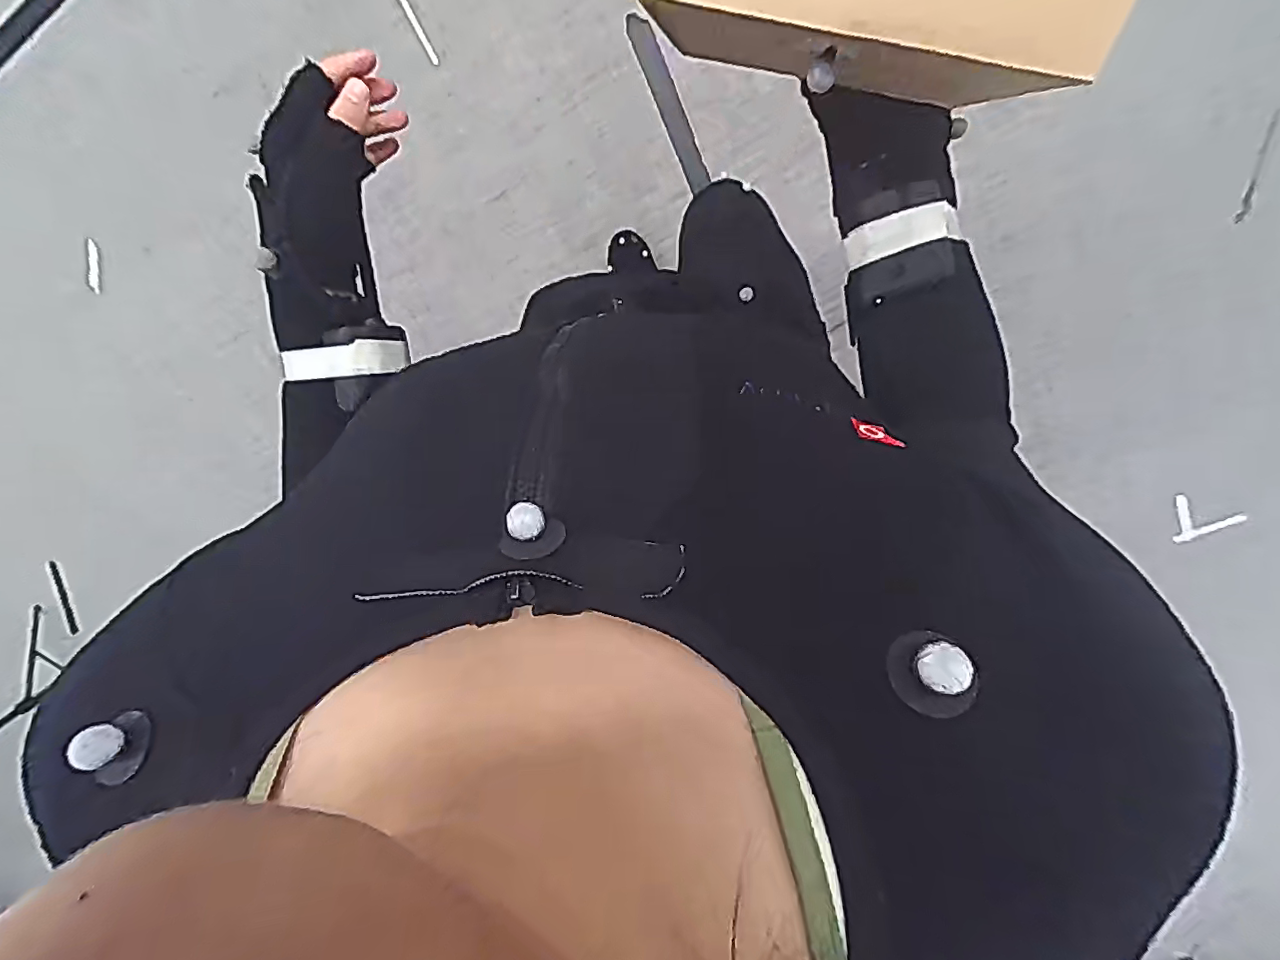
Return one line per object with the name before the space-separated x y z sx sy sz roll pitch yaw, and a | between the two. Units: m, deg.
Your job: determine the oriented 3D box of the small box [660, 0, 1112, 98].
small box | 0.103 -0.273 0.220 0.179 0.176 0.168 16 124 4
